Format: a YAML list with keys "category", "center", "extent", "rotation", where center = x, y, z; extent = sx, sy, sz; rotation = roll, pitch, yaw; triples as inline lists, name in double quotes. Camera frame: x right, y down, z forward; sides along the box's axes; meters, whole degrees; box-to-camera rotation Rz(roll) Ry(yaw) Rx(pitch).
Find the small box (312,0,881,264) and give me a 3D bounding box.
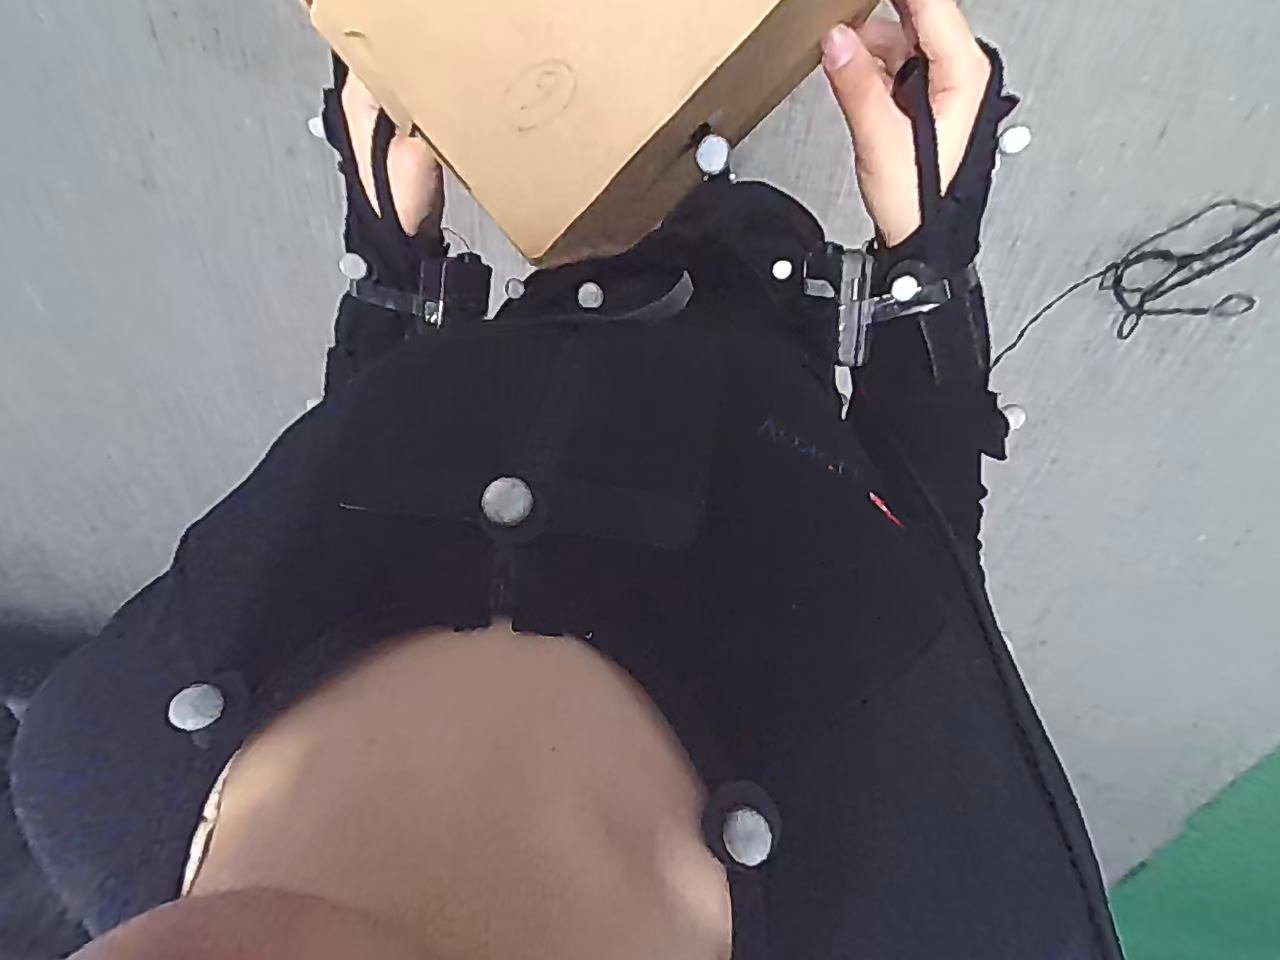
- category: "small box"
  center: [-0.008, -0.214, 0.217]
  extent: [0.179, 0.176, 0.168]
  rotation: [-35, 104, 24]
